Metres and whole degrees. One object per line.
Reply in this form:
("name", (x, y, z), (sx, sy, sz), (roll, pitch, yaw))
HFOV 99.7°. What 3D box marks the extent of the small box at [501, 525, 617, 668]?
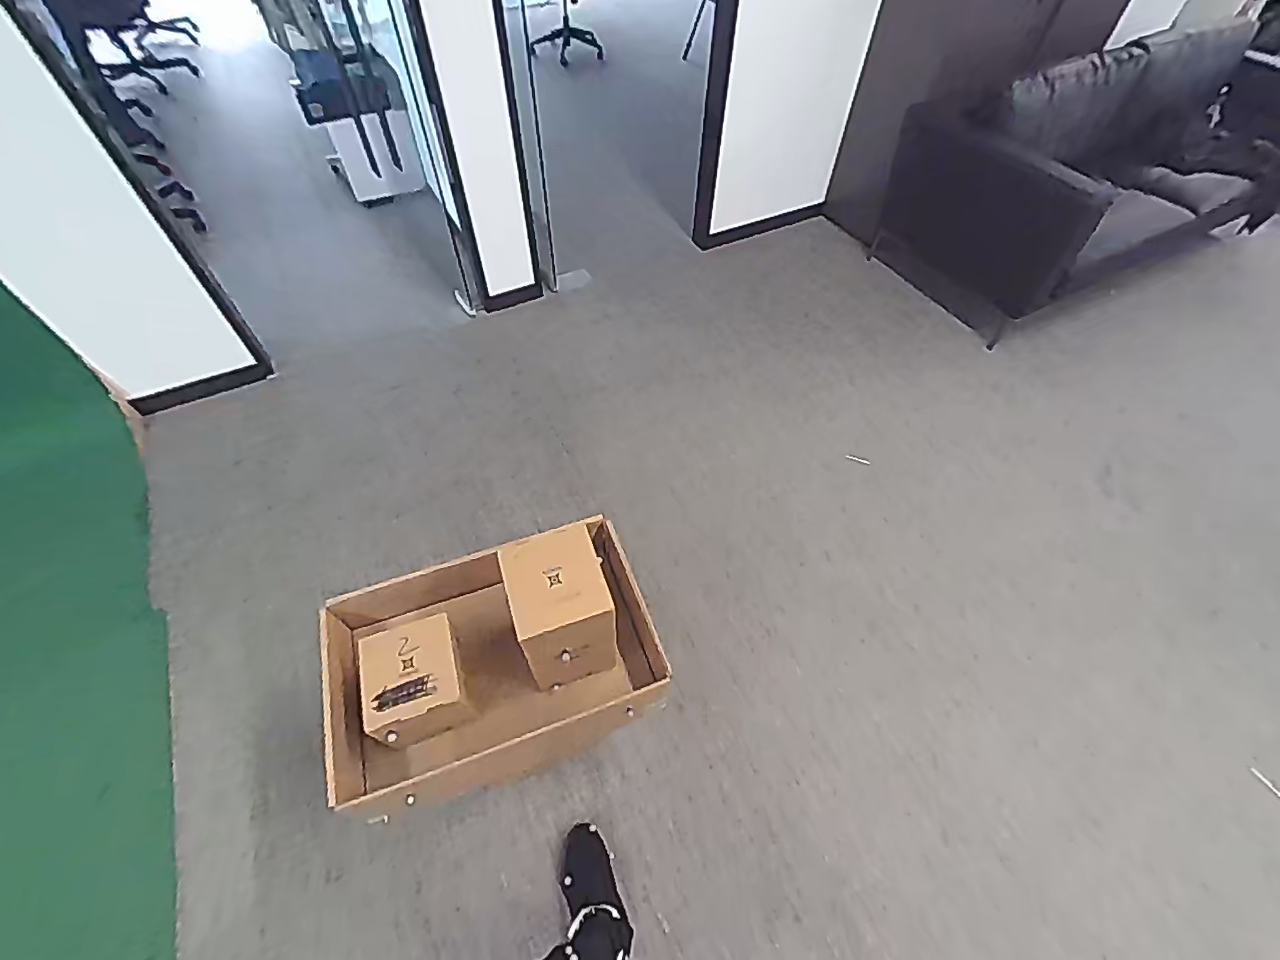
("small box", (-0.145, 0.215, 0.987), (0.168, 0.176, 0.179), (-16, 56, -12))
